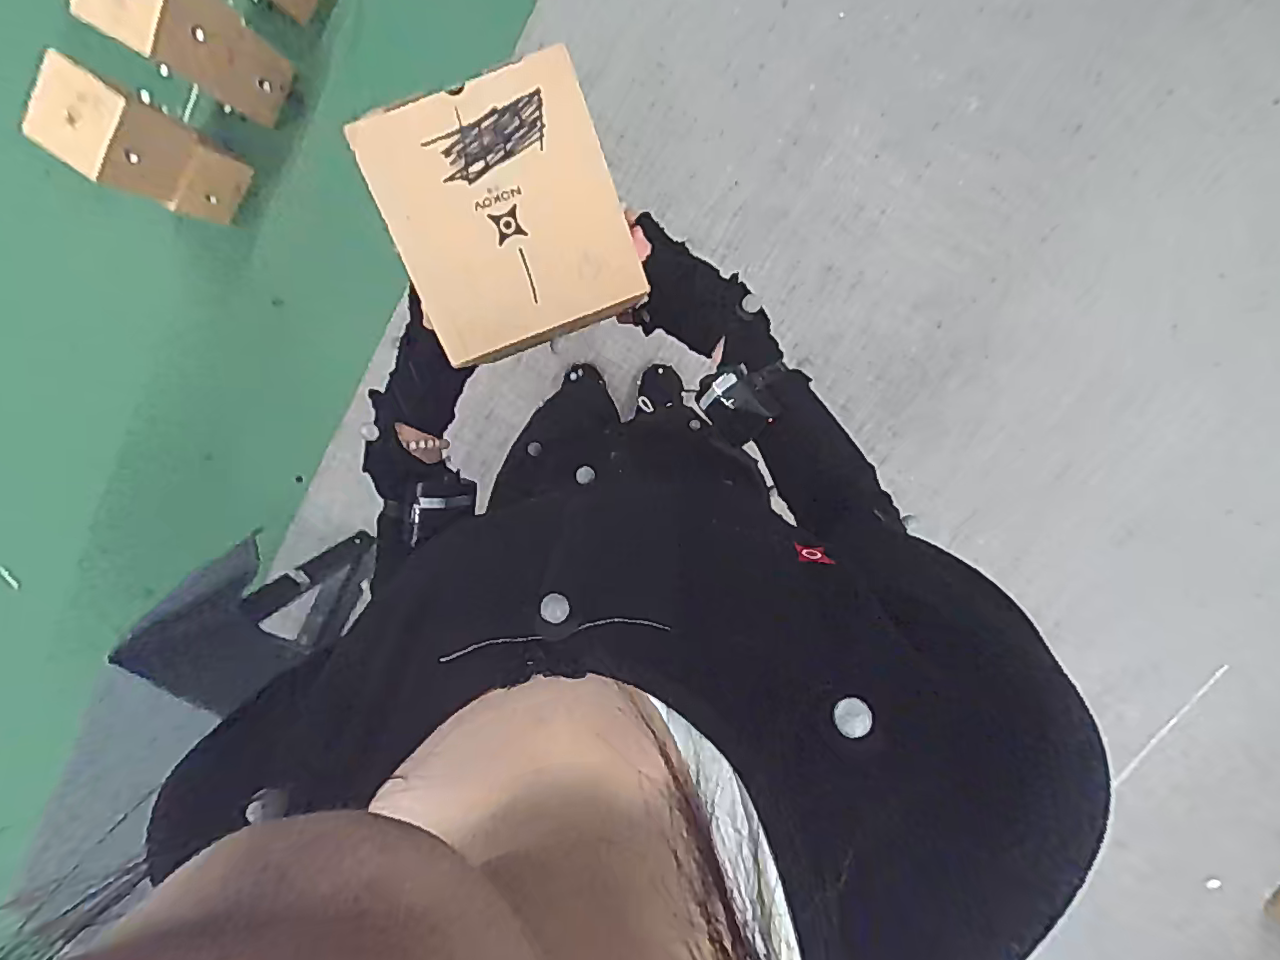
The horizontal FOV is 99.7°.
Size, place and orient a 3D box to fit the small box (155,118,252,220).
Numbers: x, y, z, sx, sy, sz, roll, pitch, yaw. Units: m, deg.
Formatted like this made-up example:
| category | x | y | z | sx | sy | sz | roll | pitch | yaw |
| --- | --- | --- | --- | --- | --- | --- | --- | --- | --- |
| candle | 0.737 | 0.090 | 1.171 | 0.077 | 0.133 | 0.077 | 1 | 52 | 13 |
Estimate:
| category | x | y | z | sx | sy | sz | roll | pitch | yaw |
| --- | --- | --- | --- | --- | --- | --- | --- | --- | --- |
| small box | -1.090 | -0.753 | 1.297 | 0.179 | 0.176 | 0.168 | 36 | 102 | -5 |

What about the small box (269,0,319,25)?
| category | x | y | z | sx | sy | sz | roll | pitch | yaw |
| --- | --- | --- | --- | --- | --- | --- | --- | --- | --- |
| small box | -0.819 | -1.180 | 1.193 | 0.168 | 0.176 | 0.179 | 35 | 102 | -5 |

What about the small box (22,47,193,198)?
| category | x | y | z | sx | sy | sz | roll | pitch | yaw |
| --- | --- | --- | --- | --- | --- | --- | --- | --- | --- |
| small box | -1.101 | -0.730 | 1.133 | 0.168 | 0.176 | 0.179 | 35 | 102 | -5 |

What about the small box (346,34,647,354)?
| category | x | y | z | sx | sy | sz | roll | pitch | yaw |
| --- | --- | --- | --- | --- | --- | --- | --- | --- | --- |
| small box | -0.105 | -0.217 | 0.466 | 0.168 | 0.176 | 0.179 | -21 | 104 | 0 |
